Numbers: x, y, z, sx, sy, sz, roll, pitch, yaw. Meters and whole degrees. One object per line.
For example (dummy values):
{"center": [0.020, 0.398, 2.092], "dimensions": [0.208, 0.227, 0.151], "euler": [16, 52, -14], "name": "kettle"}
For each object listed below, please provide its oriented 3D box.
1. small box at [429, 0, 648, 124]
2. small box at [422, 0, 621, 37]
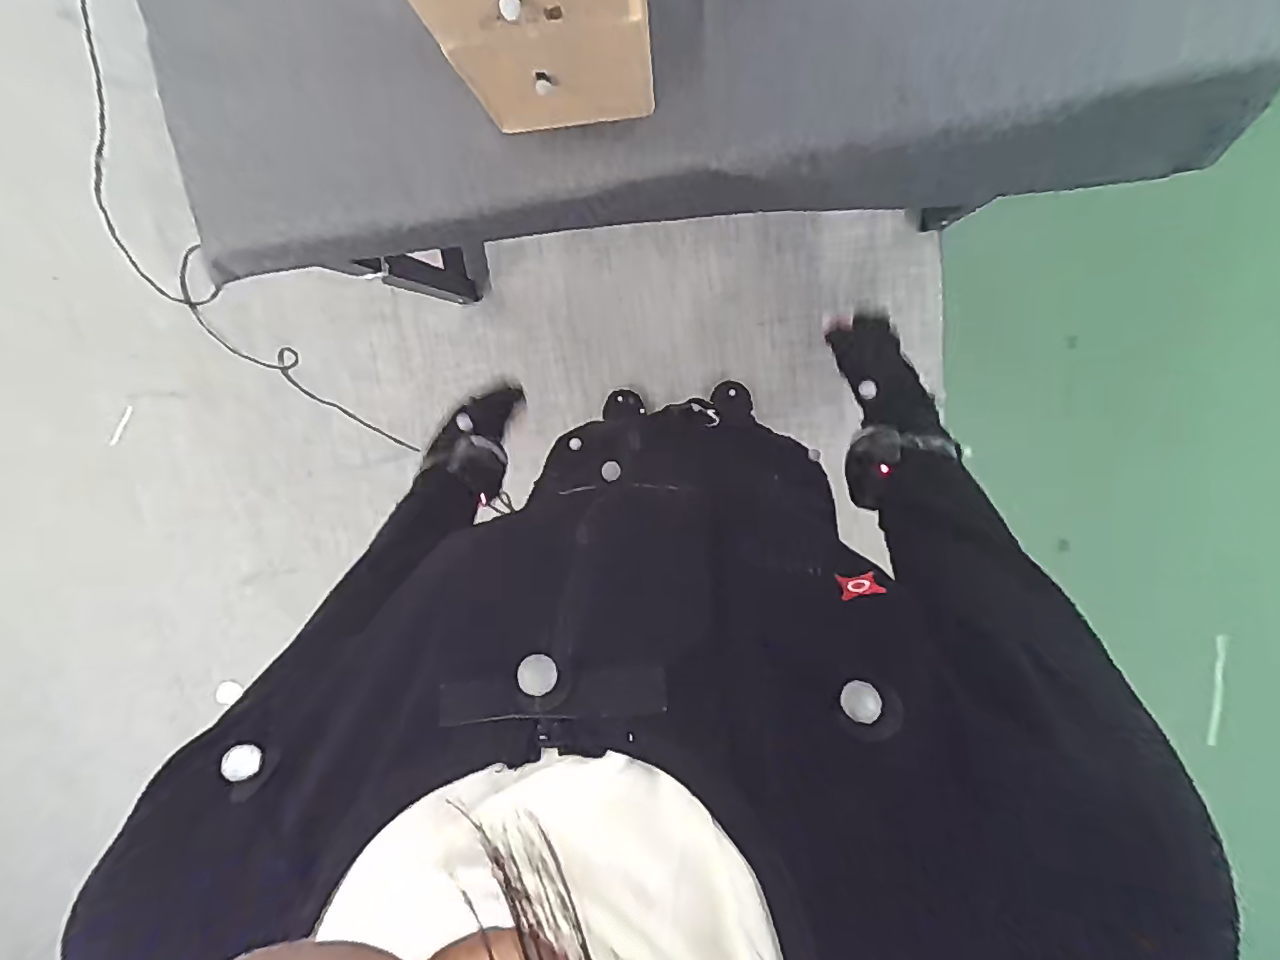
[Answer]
{"center": [-0.089, -0.470, 0.517], "dimensions": [0.179, 0.176, 0.168], "euler": [-3, 101, 5], "name": "small box"}
{"center": [-0.104, -0.445, 0.355], "dimensions": [0.168, 0.176, 0.179], "euler": [-3, 101, 5], "name": "small box"}
